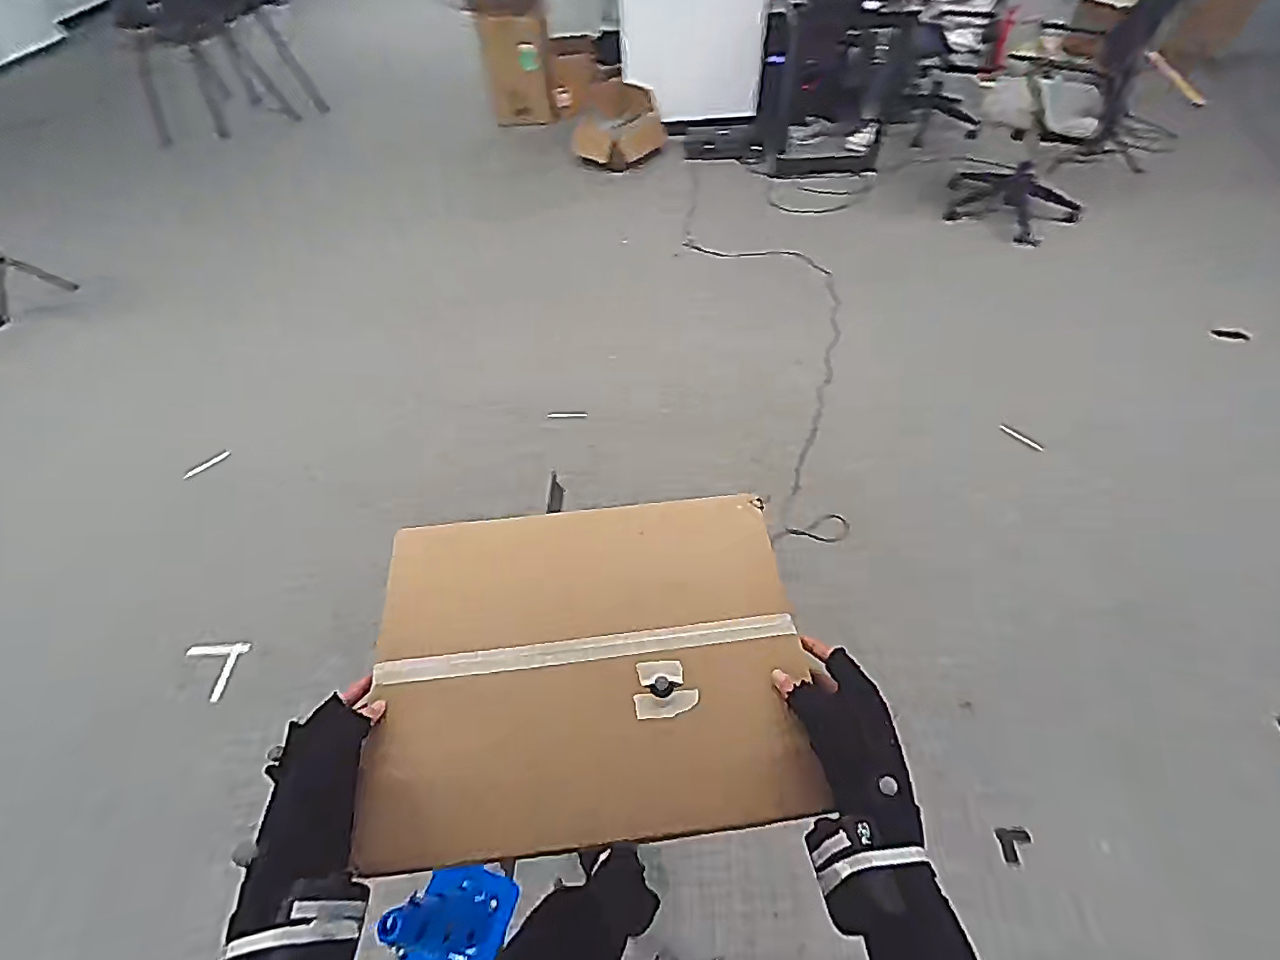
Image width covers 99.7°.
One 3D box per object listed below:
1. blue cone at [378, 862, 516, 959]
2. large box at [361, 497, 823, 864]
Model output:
[{"bbox_3d":[-0.389,0.847,1.024,0.193,0.380,0.192,16,55,16],"label":"blue cone"},{"bbox_3d":[-0.054,0.251,0.661,0.408,0.320,0.320,-6,56,-4],"label":"large box"}]
